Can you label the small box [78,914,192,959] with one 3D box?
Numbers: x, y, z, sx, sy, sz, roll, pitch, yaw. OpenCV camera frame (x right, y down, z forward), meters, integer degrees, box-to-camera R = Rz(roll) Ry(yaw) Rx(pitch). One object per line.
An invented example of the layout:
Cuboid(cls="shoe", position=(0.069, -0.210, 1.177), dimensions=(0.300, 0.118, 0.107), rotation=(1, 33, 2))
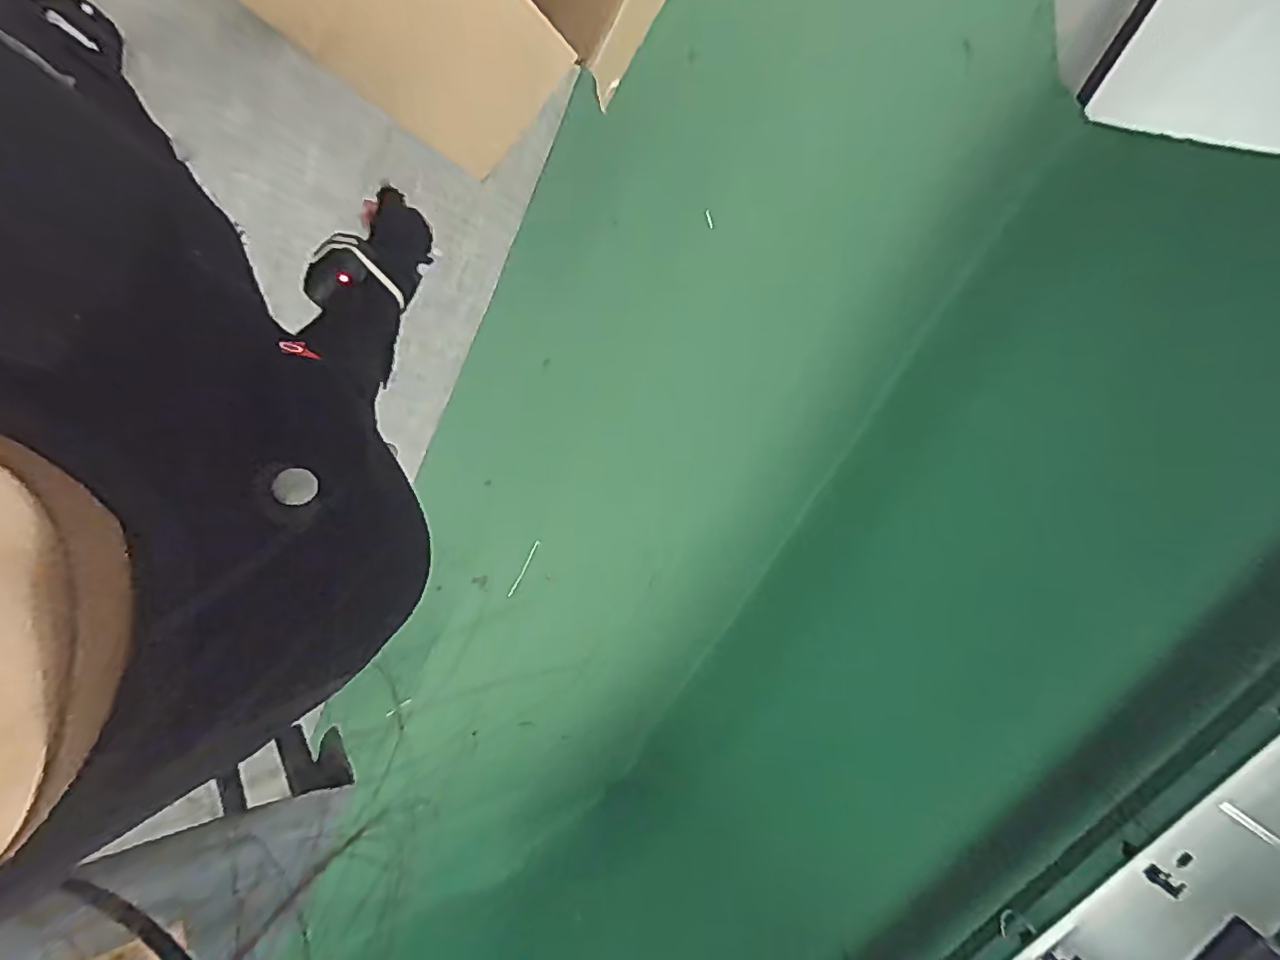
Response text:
Cuboid(cls="small box", position=(-1.003, 1.020, 1.066), dimensions=(0.168, 0.176, 0.179), rotation=(5, 120, -51))
